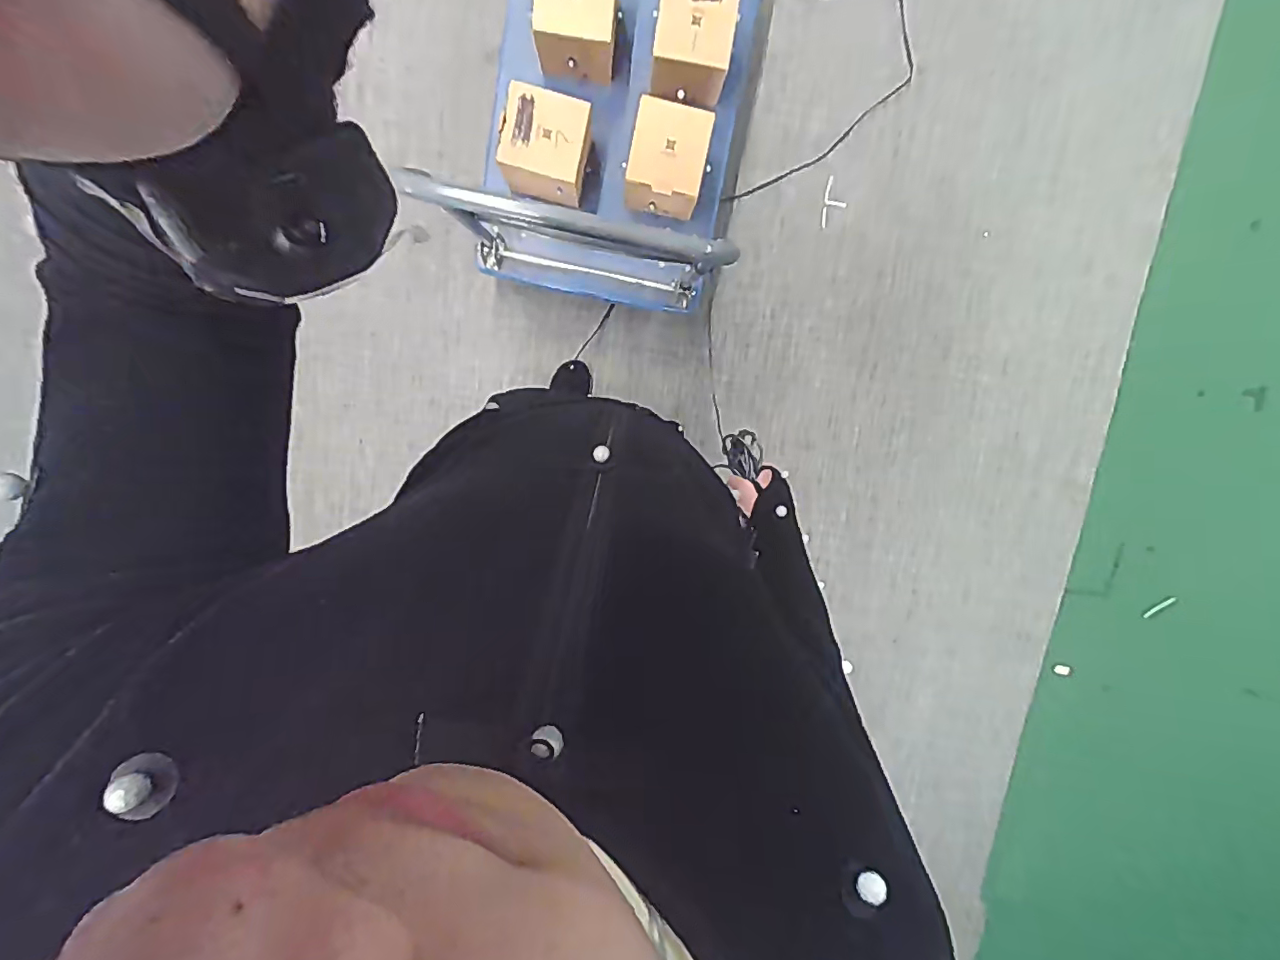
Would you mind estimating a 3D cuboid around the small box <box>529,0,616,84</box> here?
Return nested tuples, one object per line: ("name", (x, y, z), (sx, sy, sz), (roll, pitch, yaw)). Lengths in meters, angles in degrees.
("small box", (-0.142, -1.008, 1.180), (0.168, 0.176, 0.179), (6, 100, -5))

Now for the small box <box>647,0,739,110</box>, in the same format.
("small box", (0.110, -0.970, 1.201), (0.168, 0.176, 0.179), (9, 101, -4))

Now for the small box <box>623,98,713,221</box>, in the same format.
("small box", (0.056, -0.725, 1.244), (0.168, 0.176, 0.179), (11, 100, -5))
